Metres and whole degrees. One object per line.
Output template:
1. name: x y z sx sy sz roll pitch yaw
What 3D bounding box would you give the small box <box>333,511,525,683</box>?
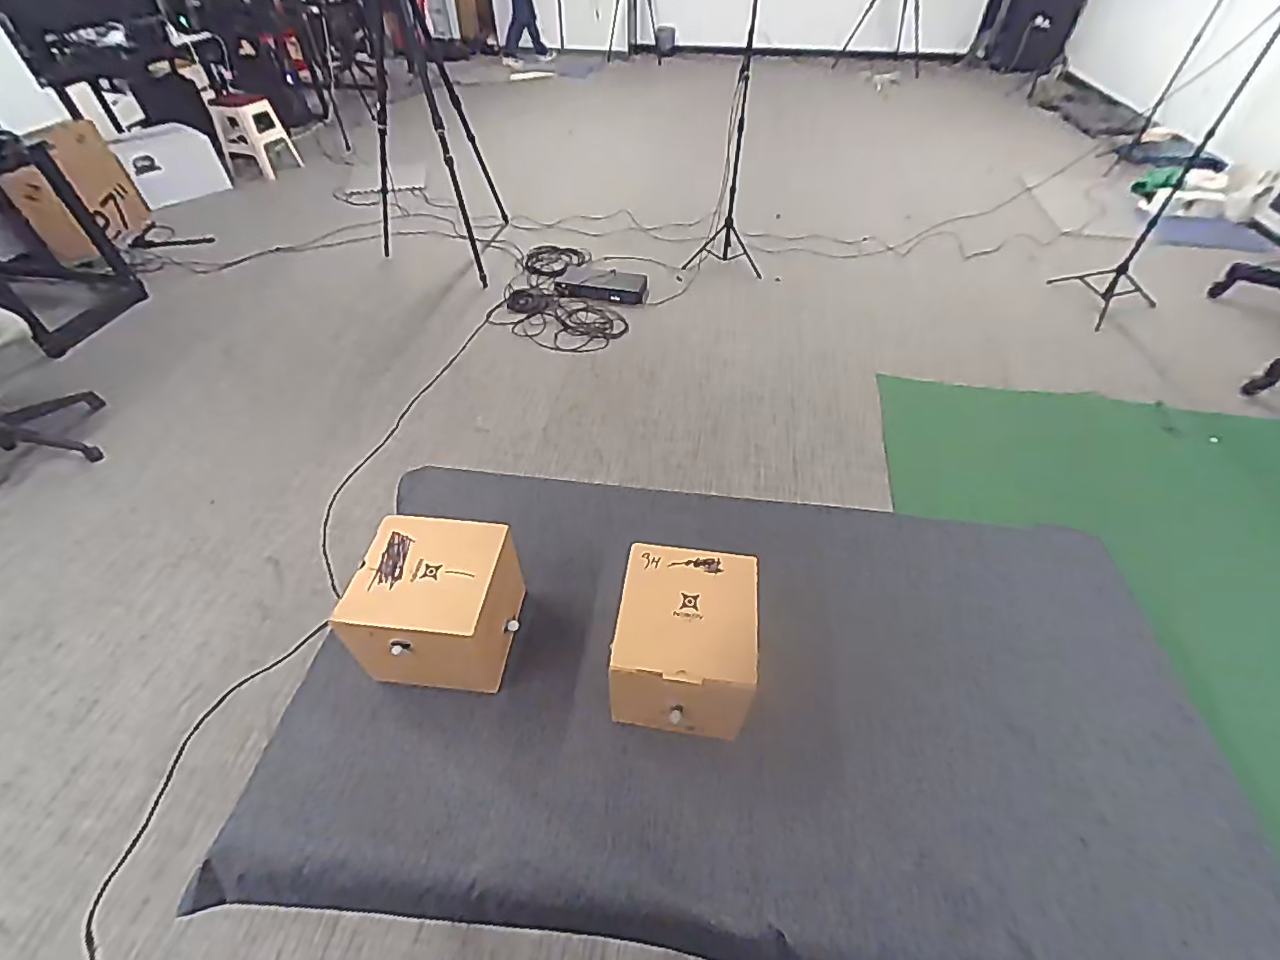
1. small box: -0.270 0.163 0.742 0.179 0.176 0.168 5 48 3

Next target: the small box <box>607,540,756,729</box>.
1. small box: 0.057 0.206 0.709 0.168 0.176 0.179 7 48 5
